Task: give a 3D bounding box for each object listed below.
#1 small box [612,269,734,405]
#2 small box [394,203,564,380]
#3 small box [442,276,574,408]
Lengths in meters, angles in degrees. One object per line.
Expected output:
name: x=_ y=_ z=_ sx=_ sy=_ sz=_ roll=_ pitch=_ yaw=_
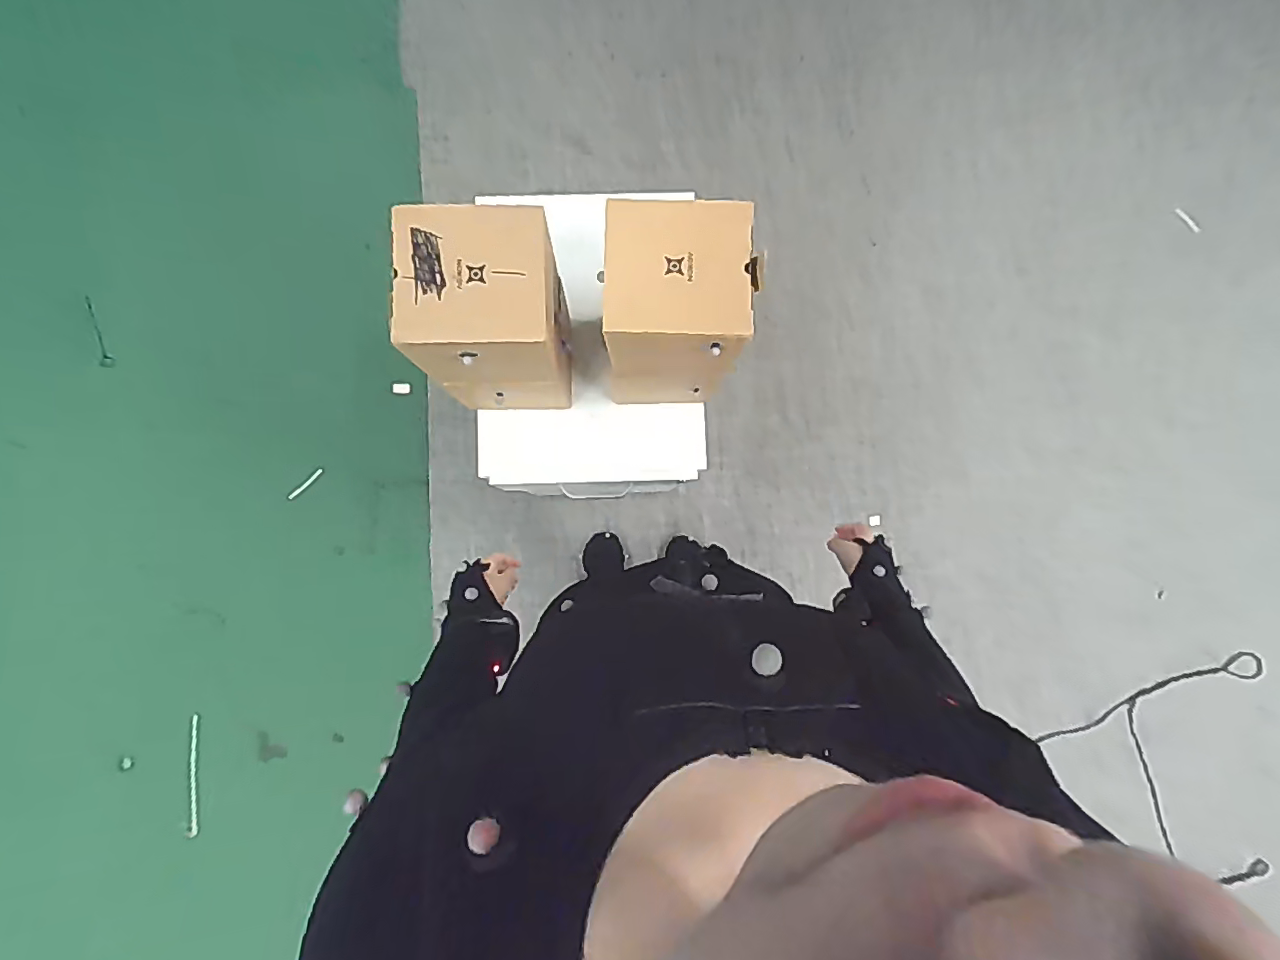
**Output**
small box: x=0.046 y=-0.221 z=0.867 sx=0.179 sy=0.176 sz=0.168 roll=-2 pitch=84 yaw=1
small box: x=-0.194 y=-0.229 z=0.694 sx=0.179 sy=0.176 sz=0.168 roll=-2 pitch=85 yaw=-3
small box: x=-0.199 y=-0.211 z=0.859 sx=0.179 sy=0.176 sz=0.168 roll=-1 pitch=86 yaw=-3
